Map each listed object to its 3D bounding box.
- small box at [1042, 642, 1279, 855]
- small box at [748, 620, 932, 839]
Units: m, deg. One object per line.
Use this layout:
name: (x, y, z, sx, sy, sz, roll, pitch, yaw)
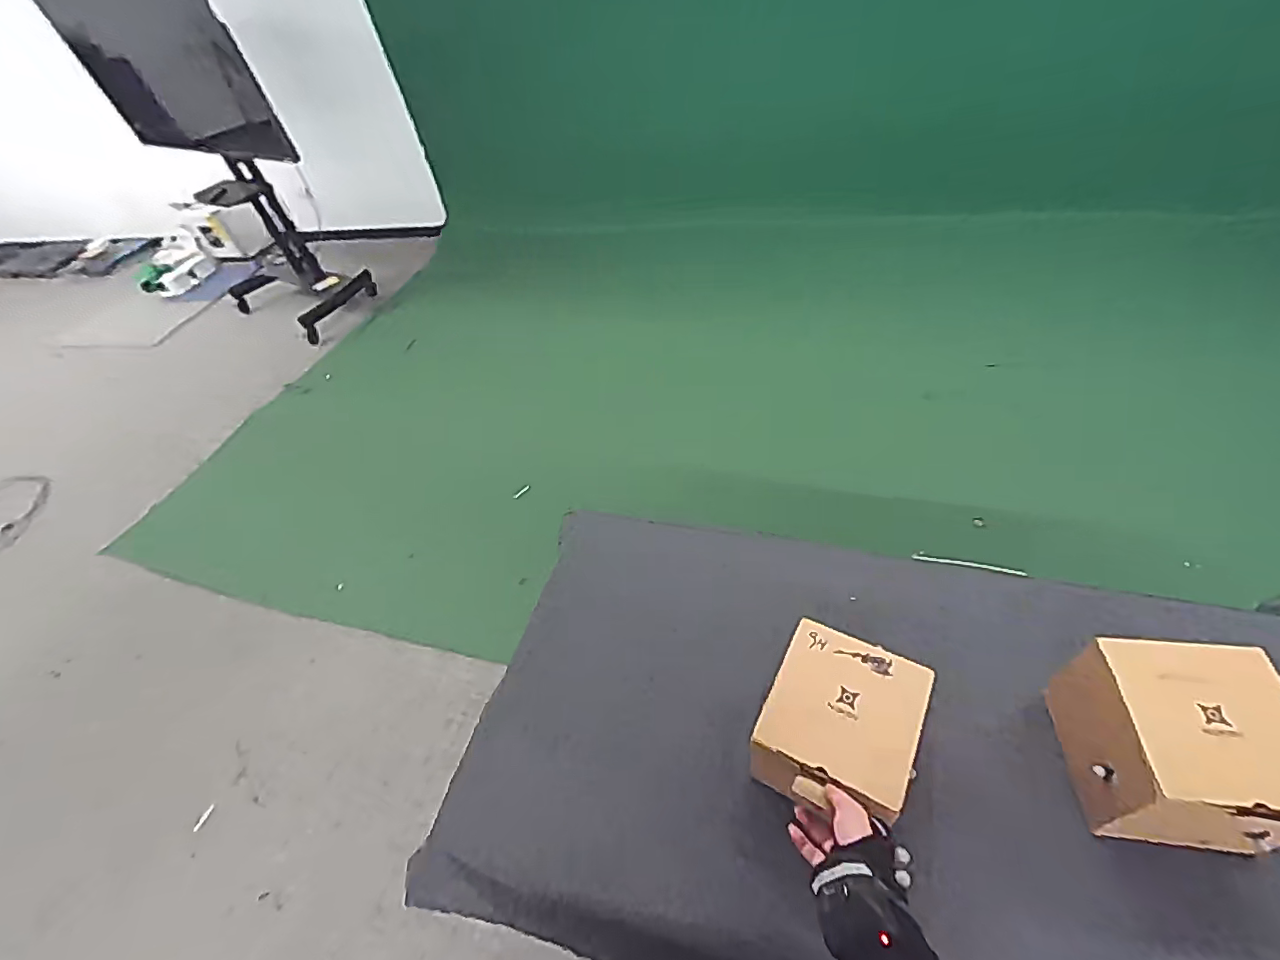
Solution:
small box: (0.618, 0.314, 0.633, 0.168, 0.176, 0.179, 2, 47, 11)
small box: (0.251, 0.322, 0.697, 0.168, 0.176, 0.179, 20, 54, 26)
